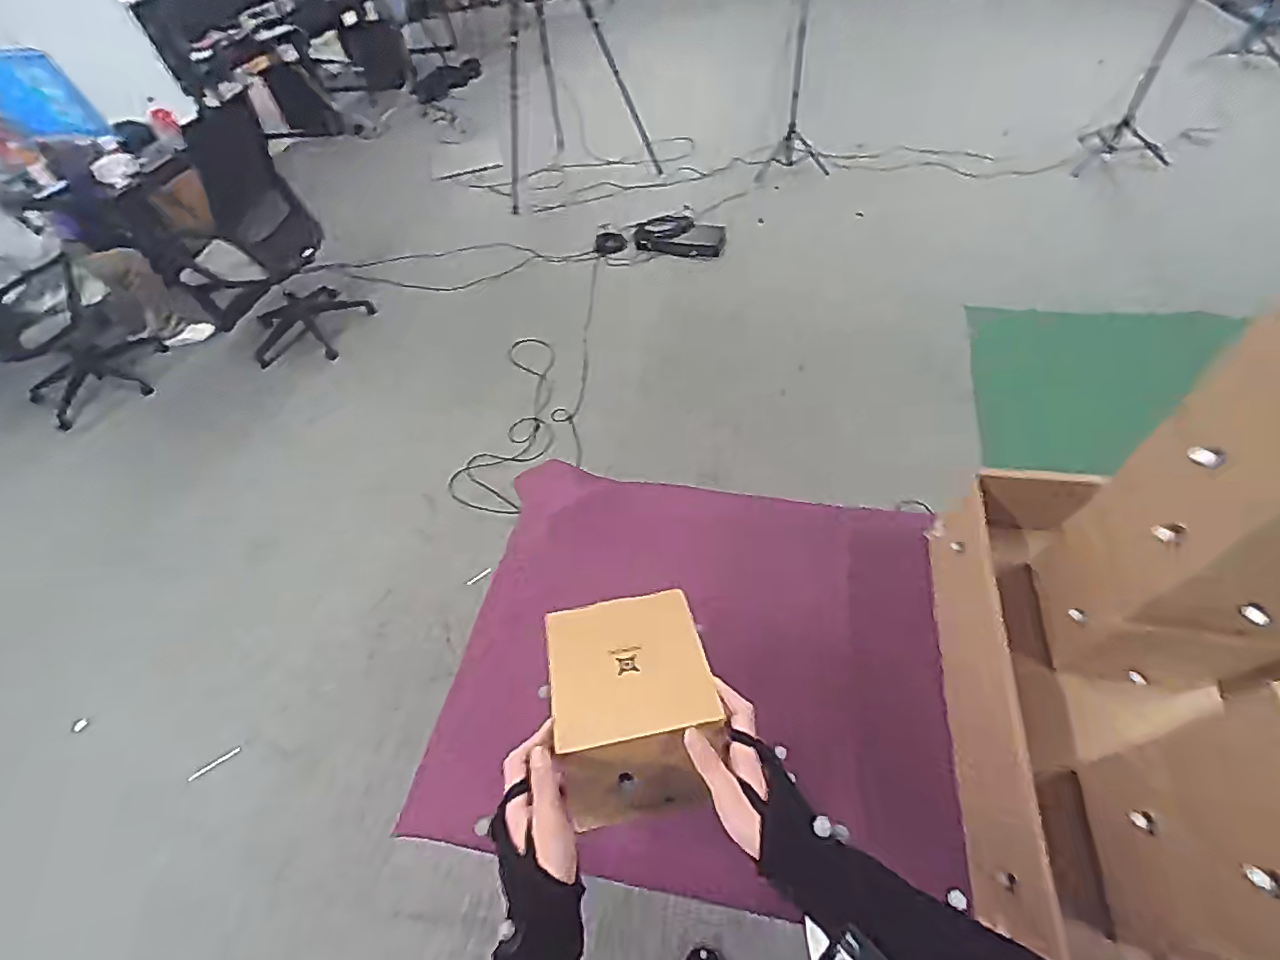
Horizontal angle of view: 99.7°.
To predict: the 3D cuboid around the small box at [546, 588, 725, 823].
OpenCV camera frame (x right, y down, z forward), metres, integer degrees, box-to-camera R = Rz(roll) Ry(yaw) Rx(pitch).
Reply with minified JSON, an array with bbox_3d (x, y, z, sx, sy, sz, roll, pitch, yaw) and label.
[{"bbox_3d":[-0.008,0.255,0.610,0.168,0.176,0.179,-10,36,-7],"label":"small box"}]
